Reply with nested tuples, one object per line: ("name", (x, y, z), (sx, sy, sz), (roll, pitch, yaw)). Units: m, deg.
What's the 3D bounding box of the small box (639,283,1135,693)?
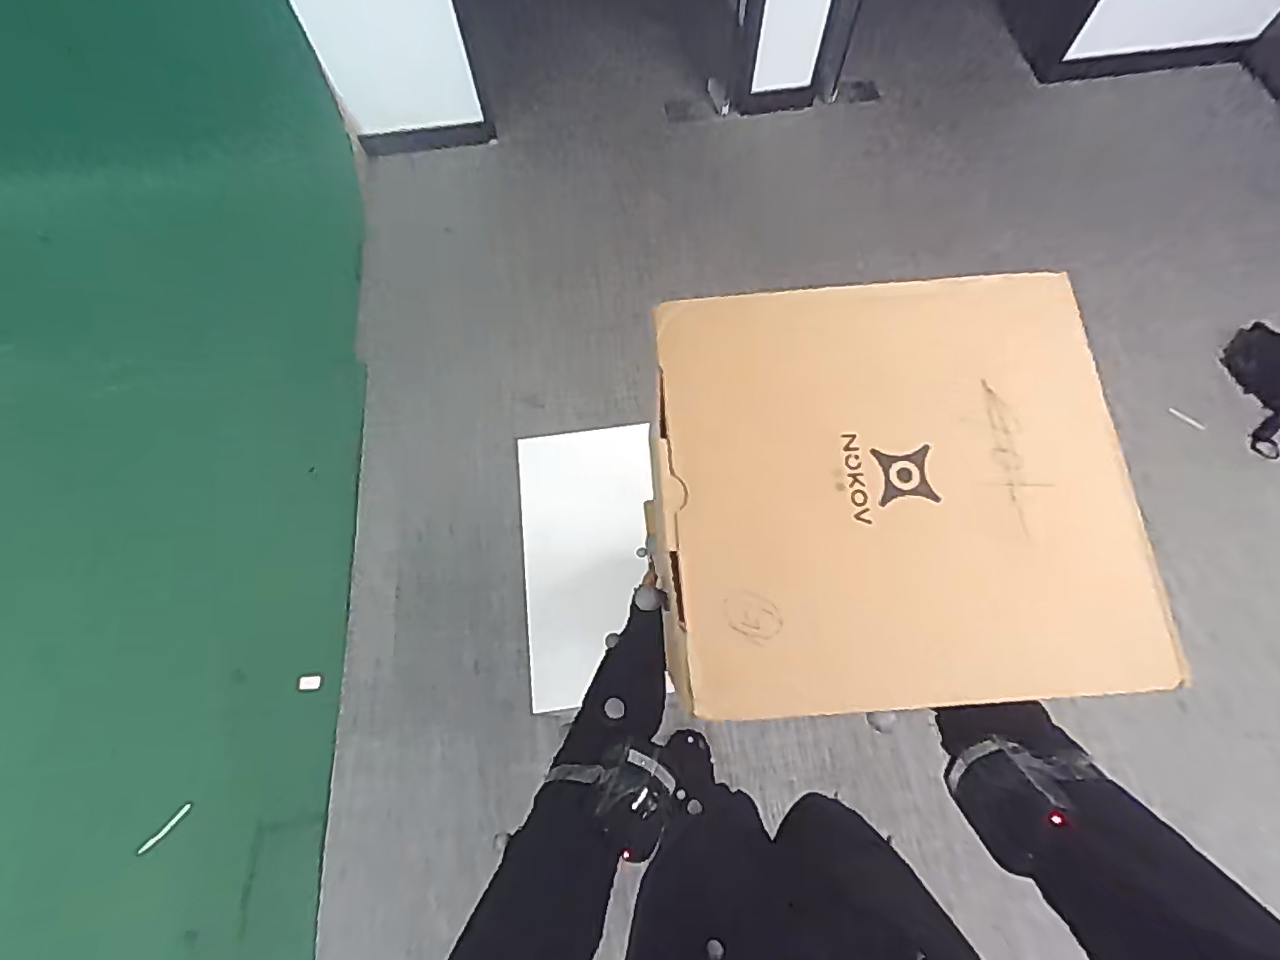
("small box", (0.094, 0.017, 0.298), (0.179, 0.176, 0.168), (-4, 76, -1))
